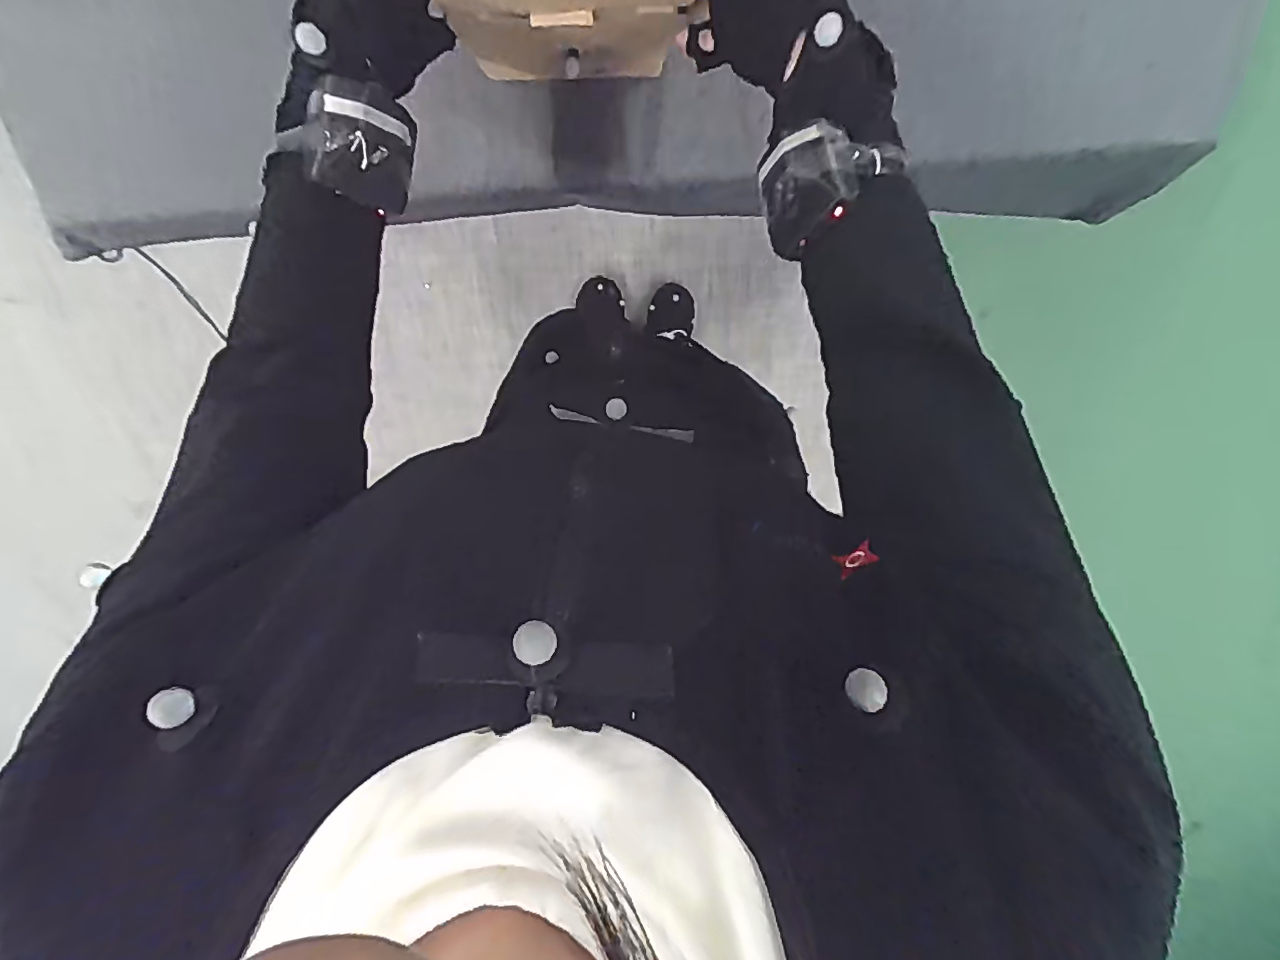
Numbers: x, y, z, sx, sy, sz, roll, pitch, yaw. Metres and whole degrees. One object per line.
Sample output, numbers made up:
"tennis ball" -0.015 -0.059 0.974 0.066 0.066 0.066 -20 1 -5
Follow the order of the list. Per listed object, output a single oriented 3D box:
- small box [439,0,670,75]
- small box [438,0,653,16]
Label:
"small box" -0.063 -0.434 0.416 0.168 0.176 0.179 -3 115 0
"small box" -0.053 -0.364 0.266 0.179 0.176 0.168 -3 114 2
